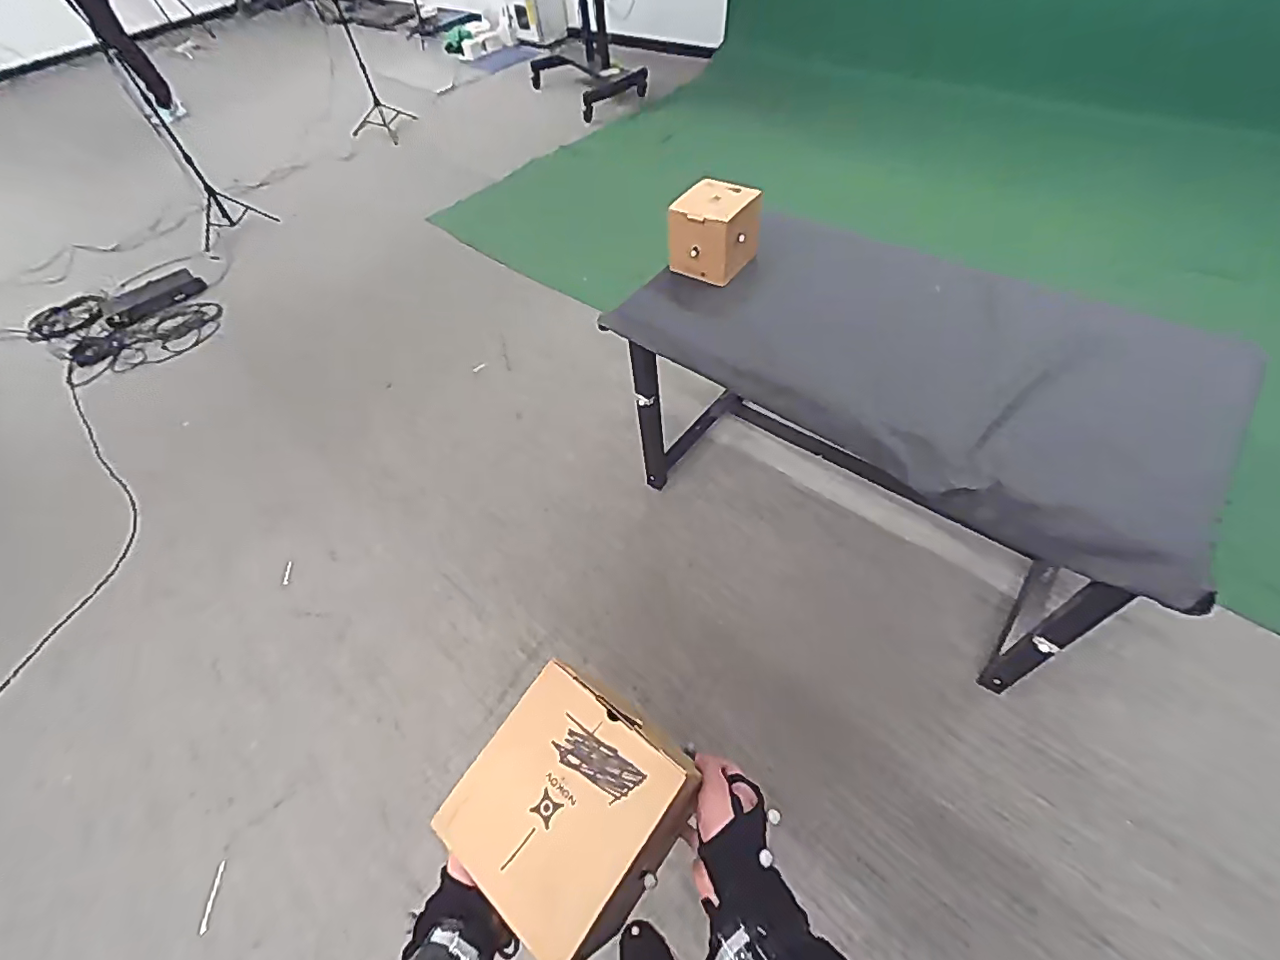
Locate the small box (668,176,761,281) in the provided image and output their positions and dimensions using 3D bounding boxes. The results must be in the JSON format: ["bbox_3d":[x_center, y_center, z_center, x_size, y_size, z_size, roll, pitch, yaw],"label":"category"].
[{"bbox_3d":[0.191,-0.633,1.370,0.168,0.176,0.179,28,61,24],"label":"small box"}]
